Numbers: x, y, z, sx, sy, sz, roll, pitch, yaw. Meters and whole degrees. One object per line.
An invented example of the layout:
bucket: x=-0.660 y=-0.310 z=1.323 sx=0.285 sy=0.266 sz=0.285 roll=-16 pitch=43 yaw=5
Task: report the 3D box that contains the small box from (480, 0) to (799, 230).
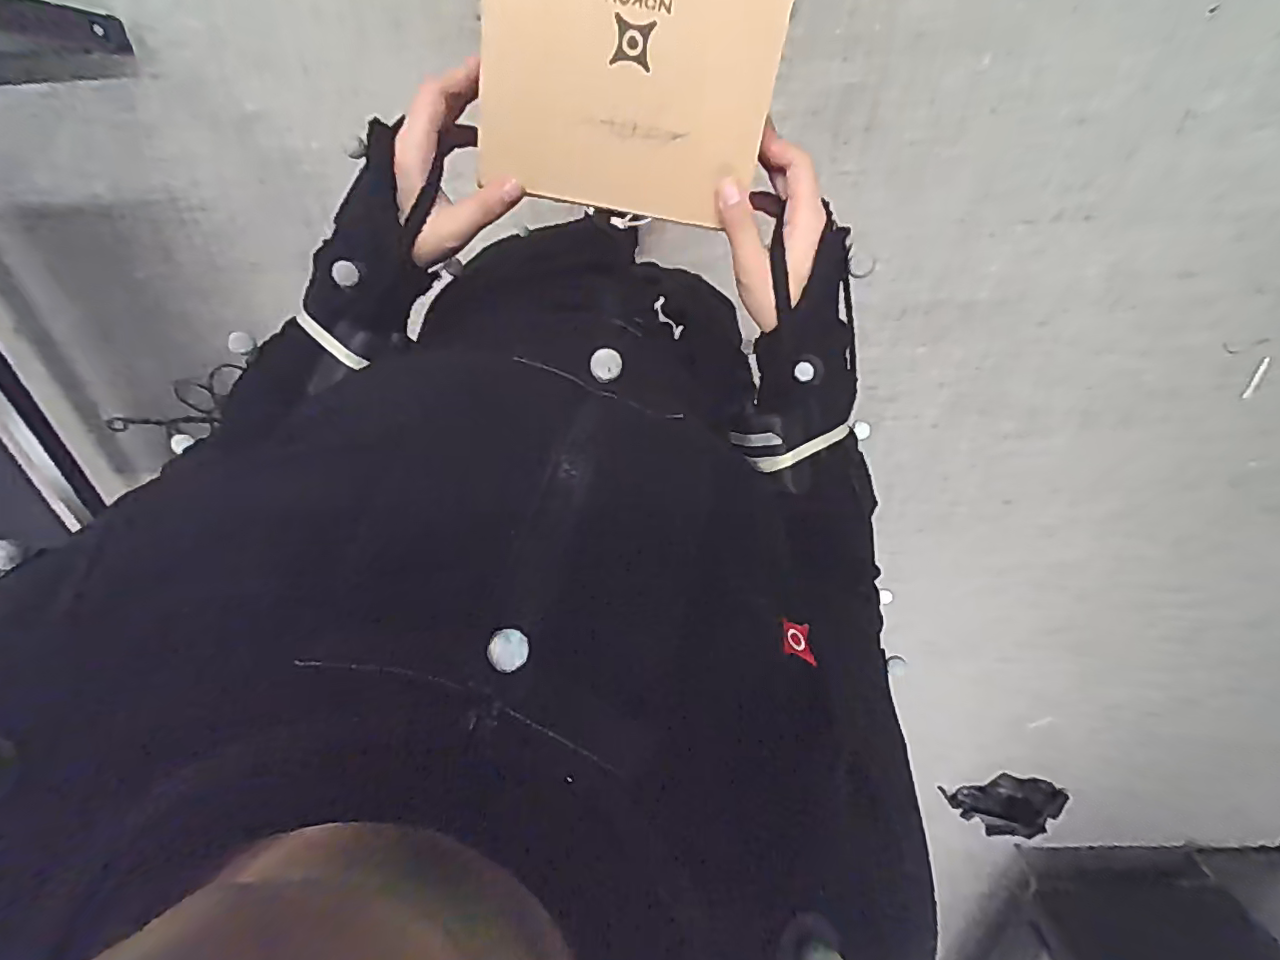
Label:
small box: x=-0.002 y=-0.282 z=0.363 sx=0.168 sy=0.176 sz=0.179 roll=9 pitch=118 yaw=-5
